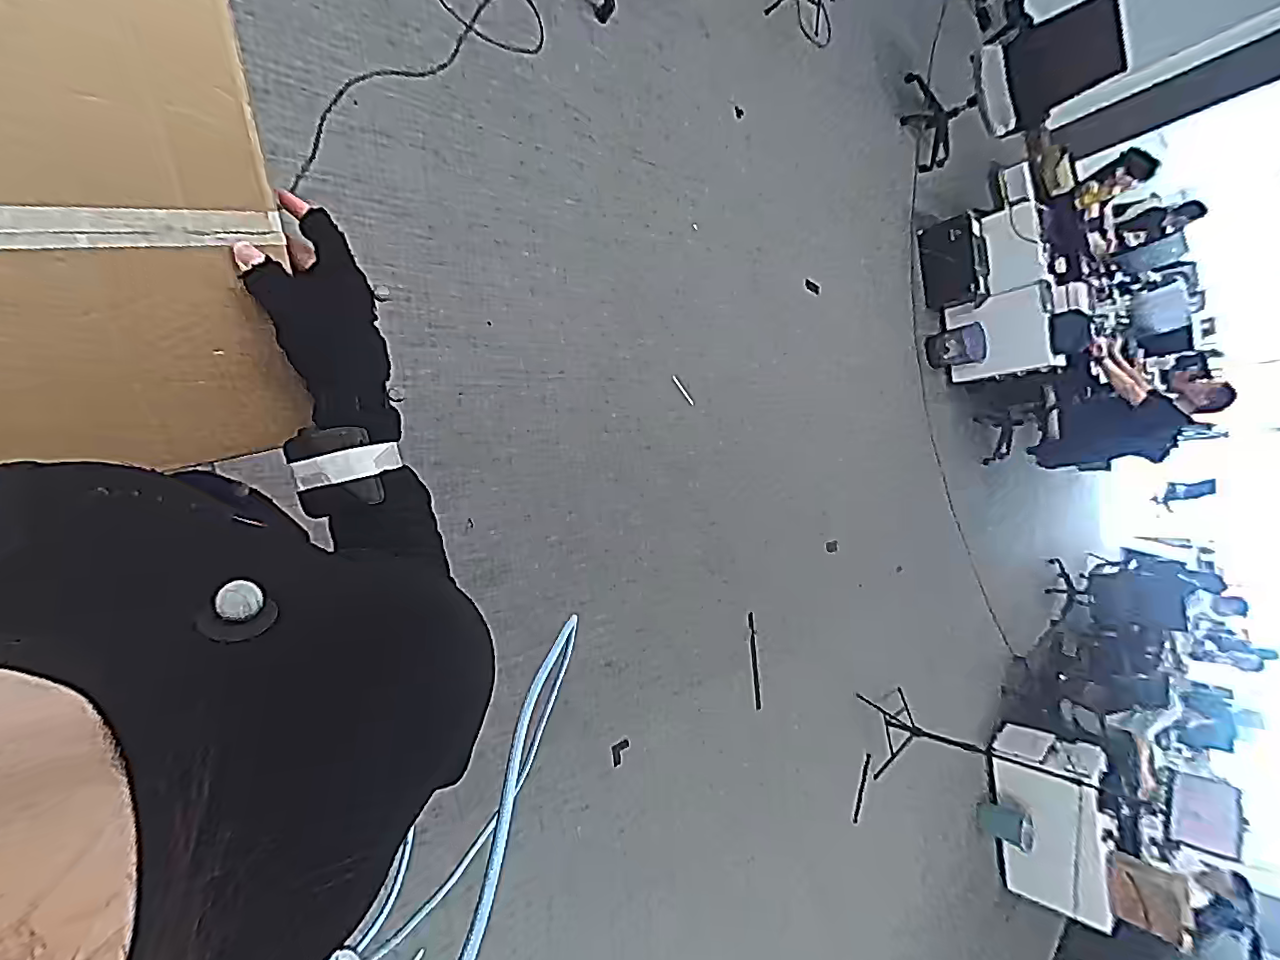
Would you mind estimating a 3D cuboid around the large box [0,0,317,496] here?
[{"bbox_3d":[-0.505,-0.176,0.348,0.408,0.320,0.320,-22,129,-37],"label":"large box"}]
